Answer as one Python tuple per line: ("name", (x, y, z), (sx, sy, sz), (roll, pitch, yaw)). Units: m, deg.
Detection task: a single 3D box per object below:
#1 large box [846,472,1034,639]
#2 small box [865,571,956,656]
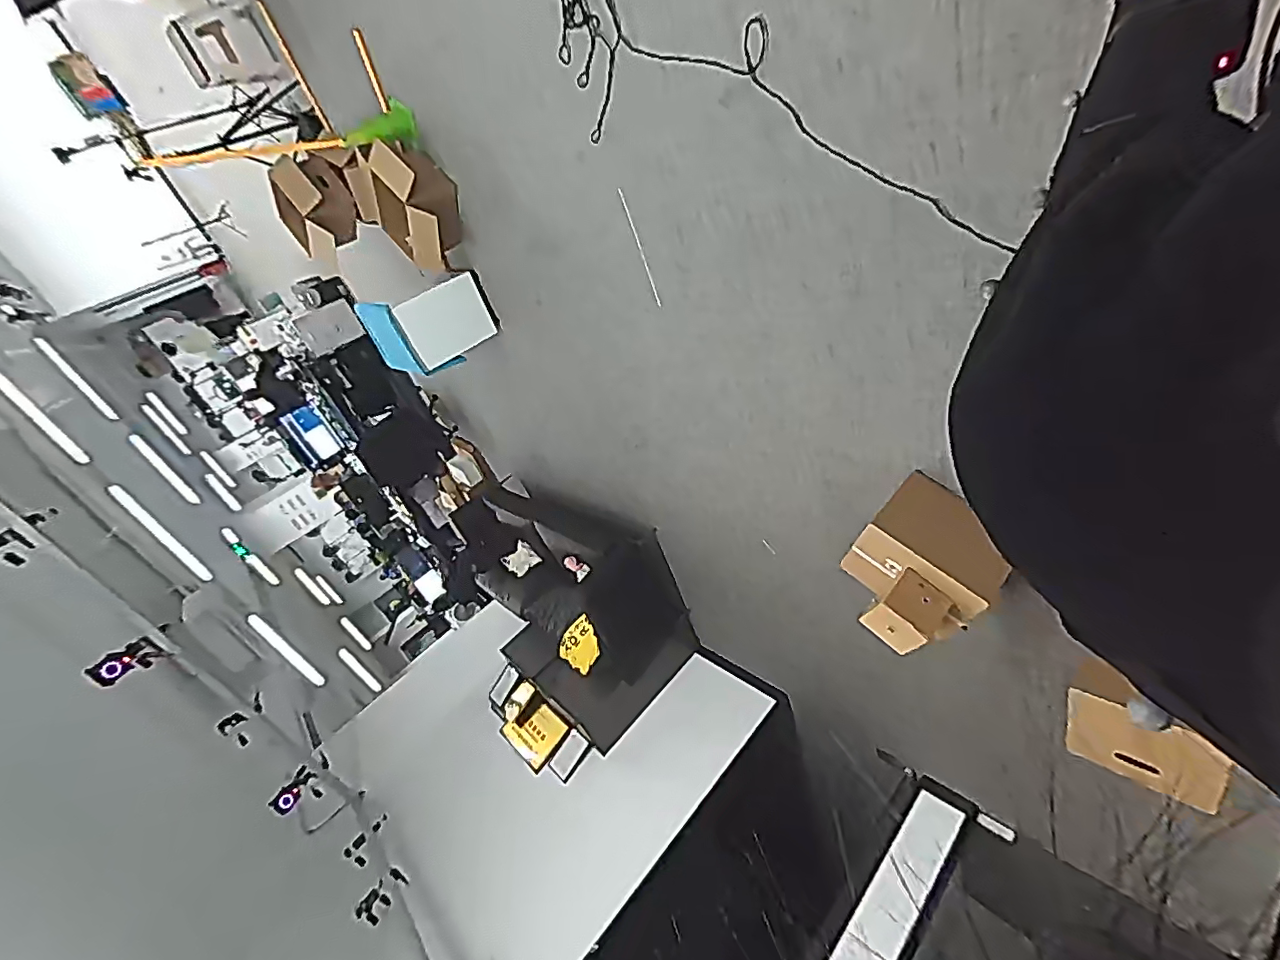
("large box", (0.996, 0.252, 1.830), (0.408, 0.320, 0.320), (40, 152, 24))
("small box", (0.859, 0.422, 1.715), (0.168, 0.176, 0.179), (41, 153, 19))
